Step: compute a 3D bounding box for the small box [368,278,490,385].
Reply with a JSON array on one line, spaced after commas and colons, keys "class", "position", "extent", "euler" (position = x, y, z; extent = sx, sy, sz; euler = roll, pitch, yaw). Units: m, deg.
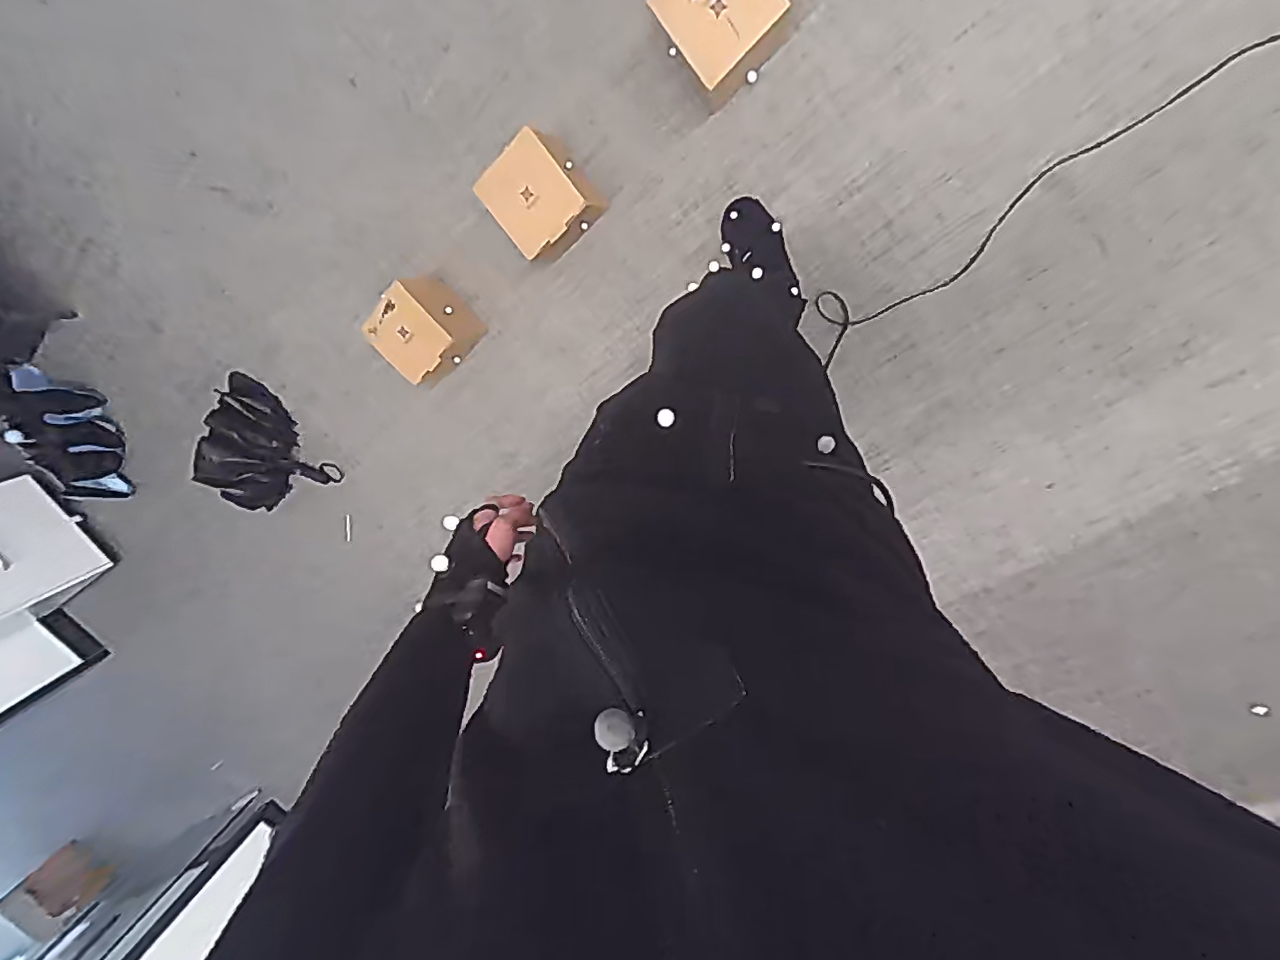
[{"class": "small box", "position": [-0.495, -0.362, 1.292], "extent": [0.168, 0.176, 0.179], "euler": [-39, 100, 25]}]

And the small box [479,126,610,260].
[{"class": "small box", "position": [-0.188, -0.583, 1.118], "extent": [0.168, 0.176, 0.179], "euler": [-35, 100, 24]}]

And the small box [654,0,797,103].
[{"class": "small box", "position": [0.149, -0.797, 0.932], "extent": [0.168, 0.176, 0.179], "euler": [-36, 102, 26]}]
